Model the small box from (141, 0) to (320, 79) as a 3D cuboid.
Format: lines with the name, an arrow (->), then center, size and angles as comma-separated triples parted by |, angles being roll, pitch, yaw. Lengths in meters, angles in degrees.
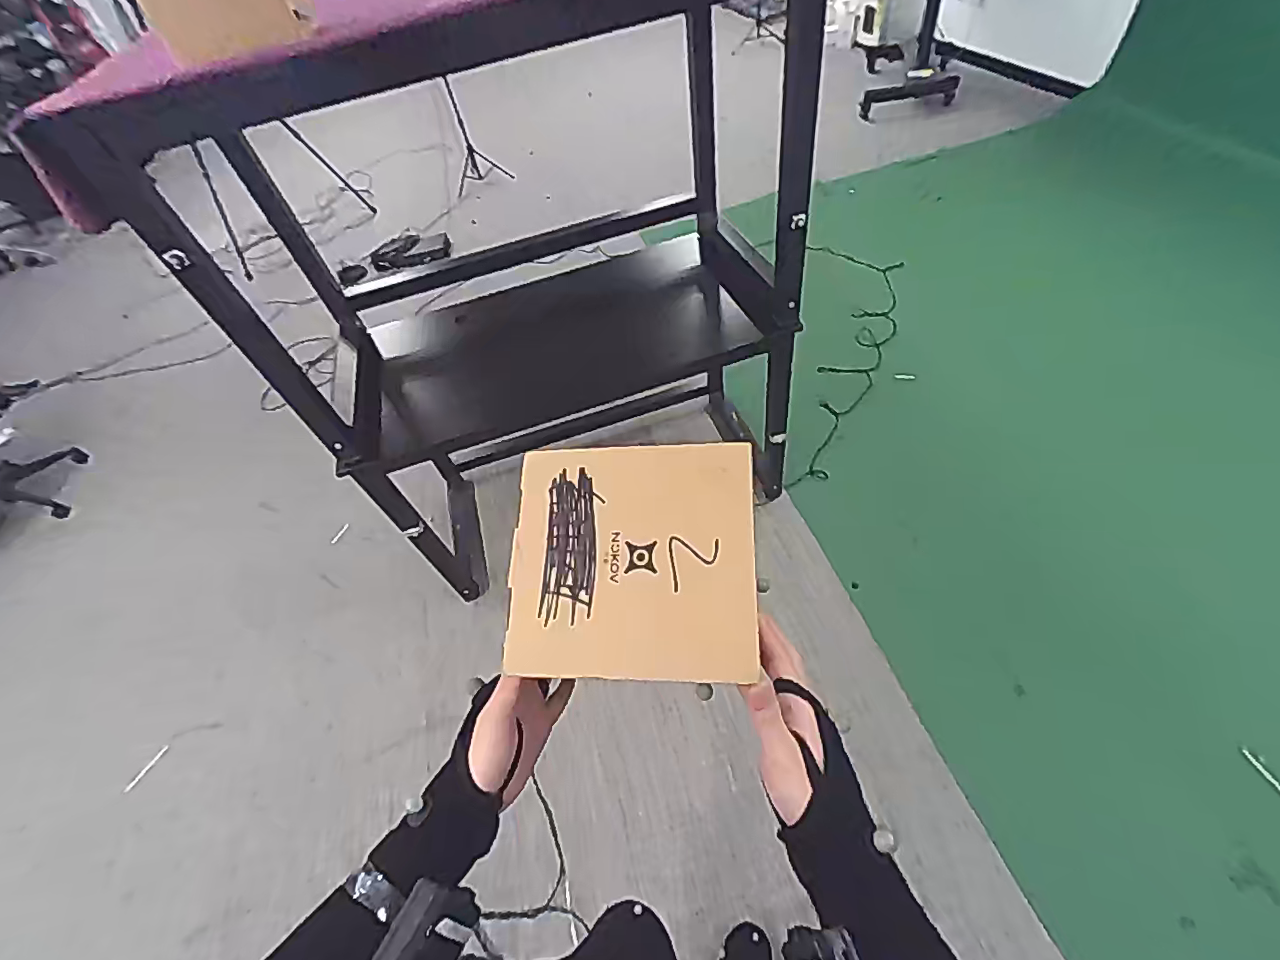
small box -> -0.588, -0.703, 0.764 | 0.179, 0.176, 0.168 | -18, 49, -3
